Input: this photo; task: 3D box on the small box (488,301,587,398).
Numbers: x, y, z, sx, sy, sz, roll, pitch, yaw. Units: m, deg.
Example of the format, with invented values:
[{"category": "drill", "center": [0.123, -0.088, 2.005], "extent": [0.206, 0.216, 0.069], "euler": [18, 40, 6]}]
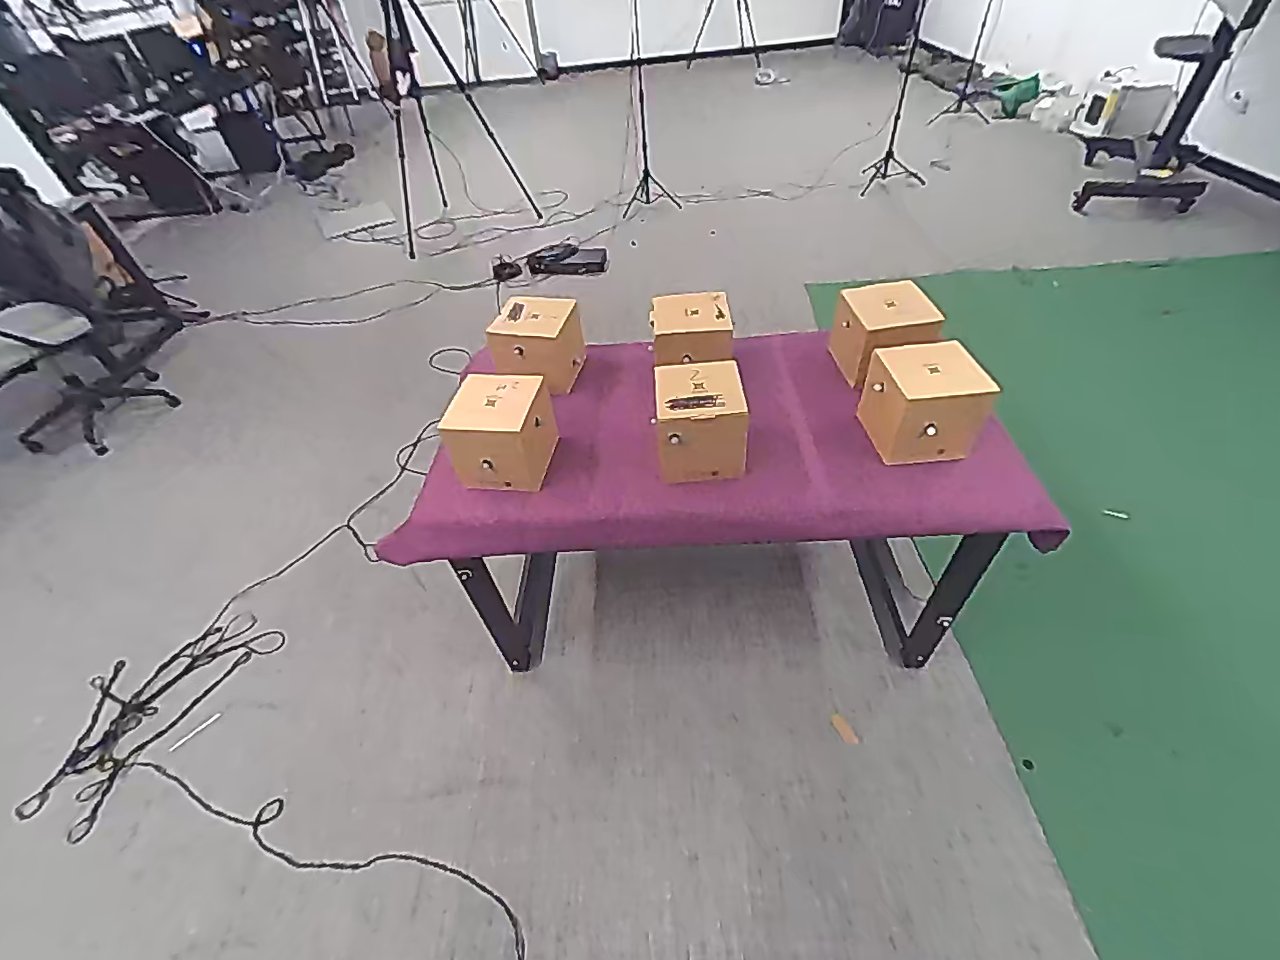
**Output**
[{"category": "small box", "center": [-0.243, -0.319, 1.326], "extent": [0.179, 0.176, 0.168], "euler": [7, 49, 11]}]

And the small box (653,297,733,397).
[{"category": "small box", "center": [0.125, -0.312, 1.283], "extent": [0.179, 0.176, 0.168], "euler": [-4, 48, 4]}]

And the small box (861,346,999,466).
[{"category": "small box", "center": [0.558, -0.140, 1.068], "extent": [0.168, 0.176, 0.179], "euler": [-5, 43, 2]}]

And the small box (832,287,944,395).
[{"category": "small box", "center": [0.556, -0.318, 1.242], "extent": [0.168, 0.176, 0.179], "euler": [-7, 47, 2]}]

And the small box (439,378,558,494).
[{"category": "small box", "center": [-0.277, -0.089, 1.107], "extent": [0.168, 0.176, 0.179], "euler": [3, 46, 9]}]
